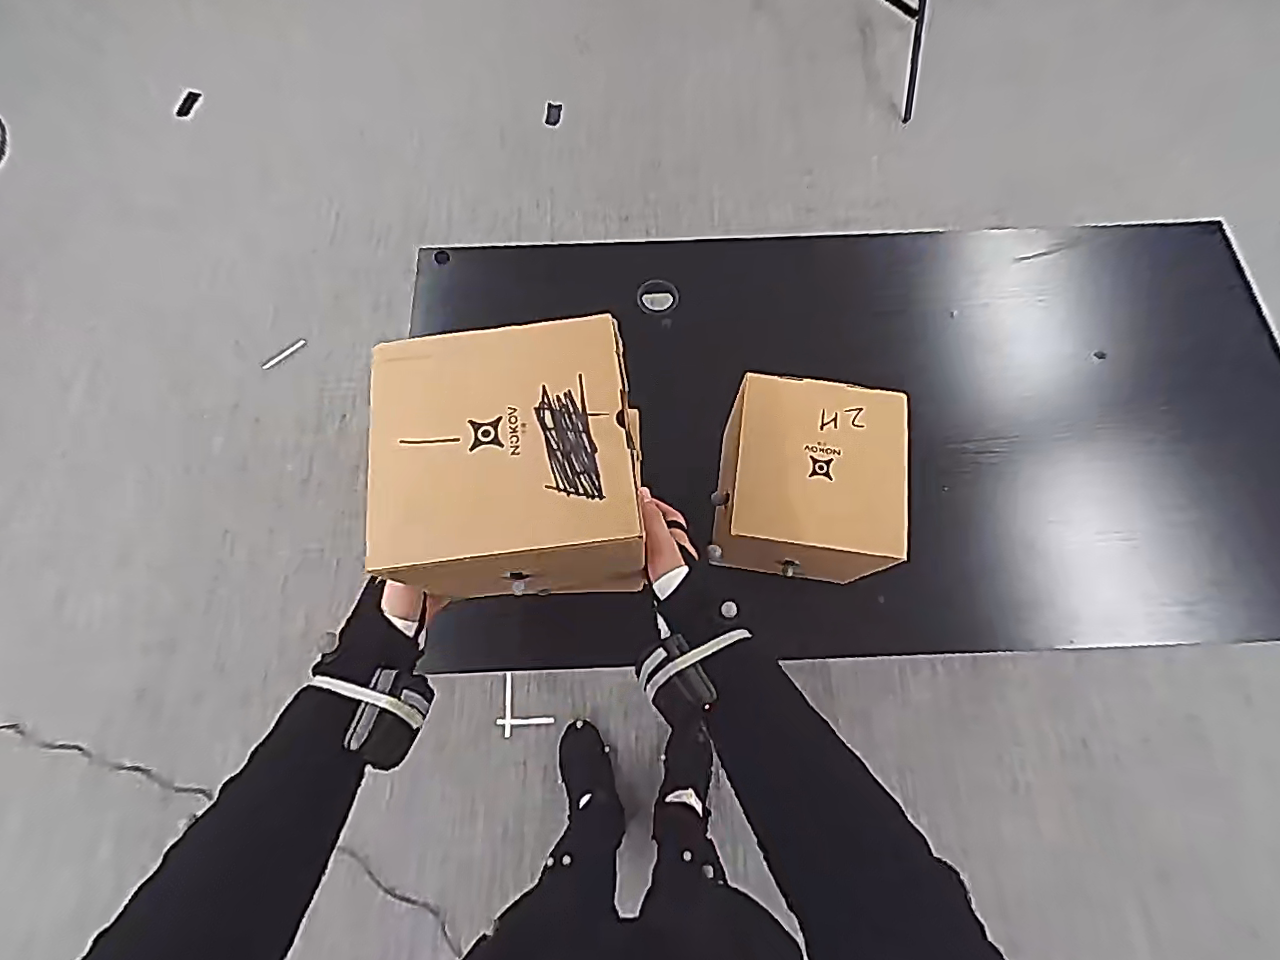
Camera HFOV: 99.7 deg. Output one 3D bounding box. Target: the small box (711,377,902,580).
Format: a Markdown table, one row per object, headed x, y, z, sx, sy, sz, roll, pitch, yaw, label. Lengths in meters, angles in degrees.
| x | y | z | sx | sy | sz | roll | pitch | yaw | label |
| --- | --- | --- | --- | --- | --- | --- | --- | --- | --- |
| 0.177 | 0.009 | 0.611 | 0.168 | 0.176 | 0.179 | 8 | 71 | 3 | small box |

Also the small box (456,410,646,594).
| x | y | z | sx | sy | sz | roll | pitch | yaw | label |
| --- | --- | --- | --- | --- | --- | --- | --- | --- | --- |
| -0.085 | 0.034 | 0.604 | 0.179 | 0.176 | 0.168 | -2 | 71 | 1 | small box |
